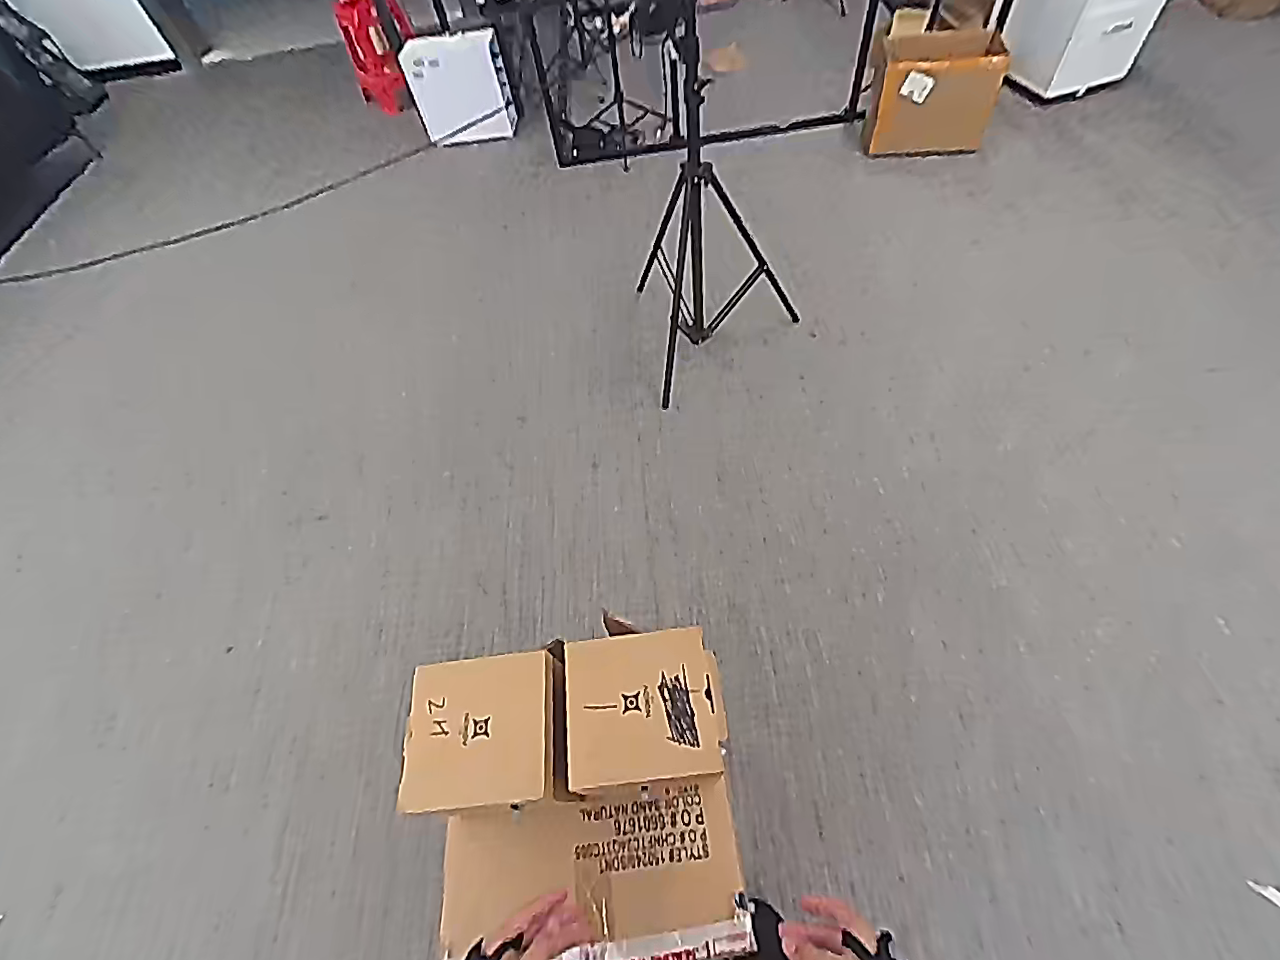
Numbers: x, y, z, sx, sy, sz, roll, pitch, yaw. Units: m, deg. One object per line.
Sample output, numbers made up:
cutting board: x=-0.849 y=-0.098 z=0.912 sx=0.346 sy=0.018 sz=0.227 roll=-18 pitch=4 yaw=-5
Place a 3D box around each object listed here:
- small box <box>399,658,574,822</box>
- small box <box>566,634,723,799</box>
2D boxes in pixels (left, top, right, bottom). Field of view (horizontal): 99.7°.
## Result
small box: x=-0.182 y=0.347 z=0.714 sx=0.179 sy=0.176 sz=0.168 roll=-9 pitch=56 yaw=5
small box: x=0.006 y=0.315 z=0.710 sx=0.179 sy=0.176 sz=0.168 roll=-8 pitch=57 yaw=2
